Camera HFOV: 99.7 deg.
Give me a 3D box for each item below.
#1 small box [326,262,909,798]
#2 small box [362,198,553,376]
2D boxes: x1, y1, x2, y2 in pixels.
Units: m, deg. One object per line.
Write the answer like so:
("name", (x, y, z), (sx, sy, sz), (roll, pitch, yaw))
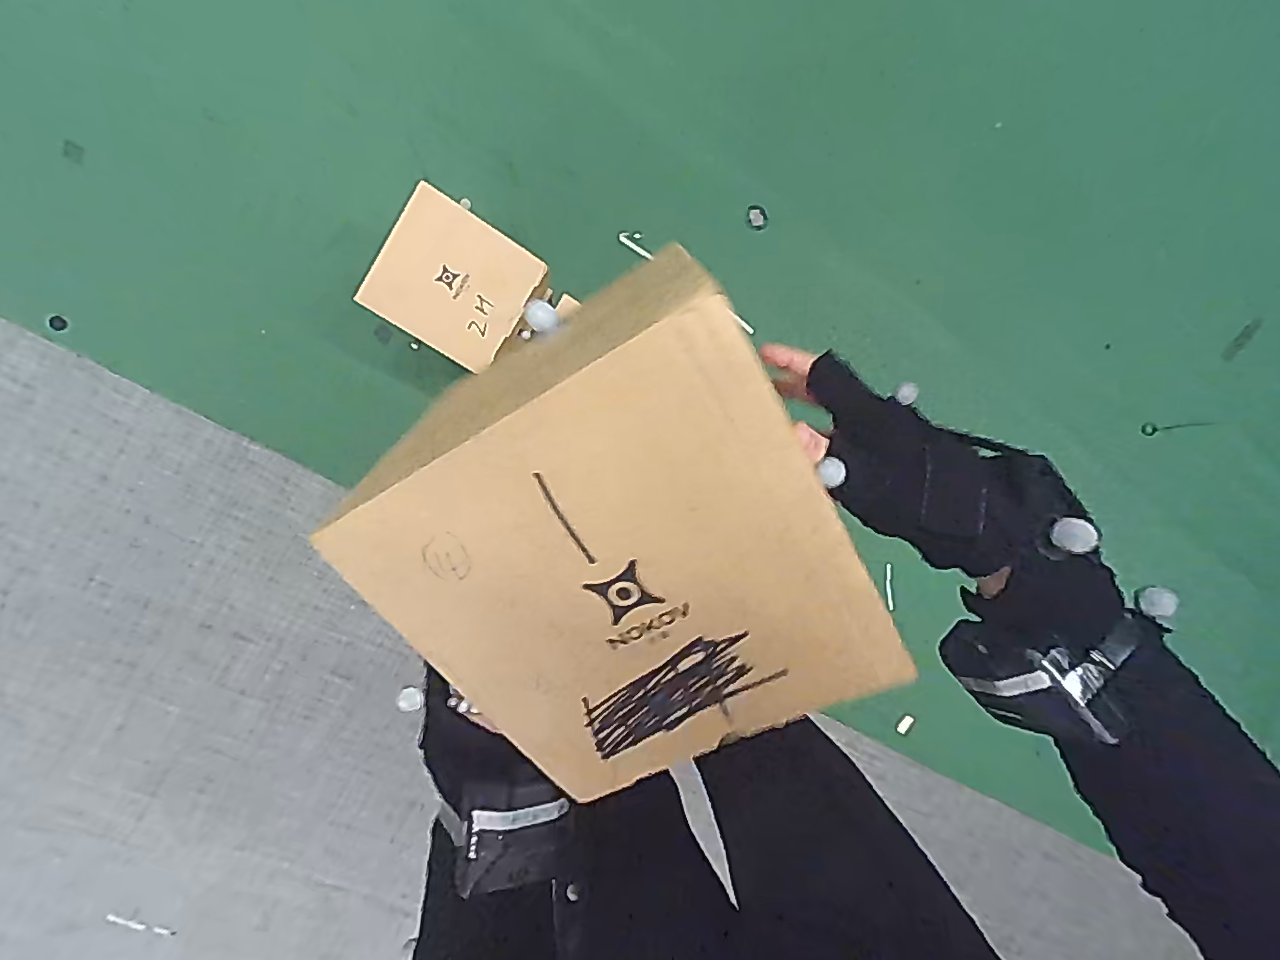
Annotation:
("small box", (-0.002, 0.013, 0.277), (0.168, 0.176, 0.179), (-29, 116, 10))
("small box", (-0.238, -0.241, 0.747), (0.179, 0.176, 0.168), (31, 94, -14))
